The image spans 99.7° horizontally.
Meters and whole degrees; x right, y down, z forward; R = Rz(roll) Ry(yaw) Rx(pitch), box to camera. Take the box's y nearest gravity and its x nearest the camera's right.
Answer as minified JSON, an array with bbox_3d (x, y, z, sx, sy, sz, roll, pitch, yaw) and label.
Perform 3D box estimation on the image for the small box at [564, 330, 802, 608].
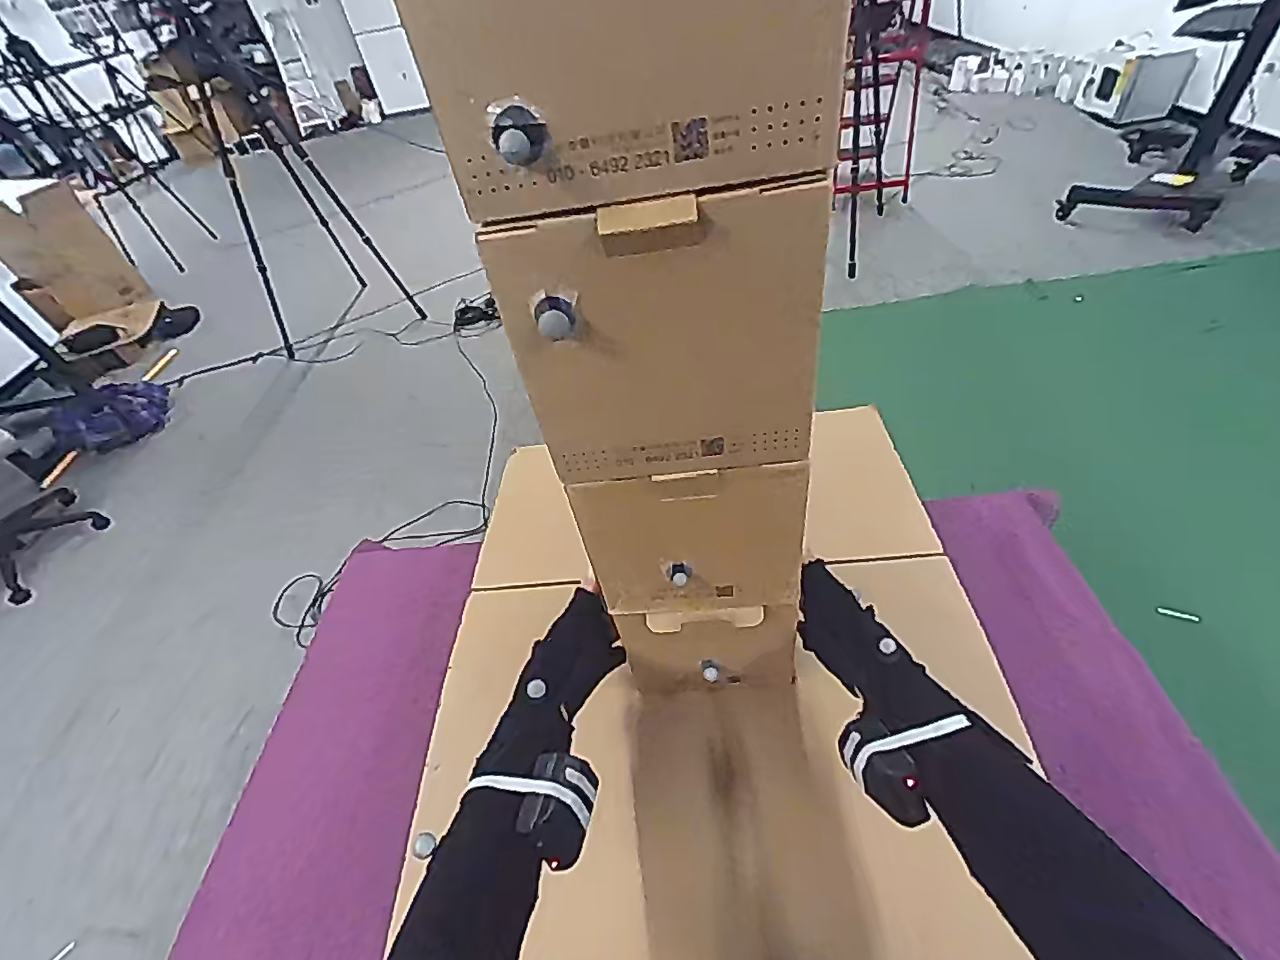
[{"bbox_3d":[0.040,-0.008,0.480,0.168,0.176,0.179,-5,45,6],"label":"small box"}]

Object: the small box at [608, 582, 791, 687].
[{"bbox_3d":[0.064,0.105,0.593,0.168,0.176,0.179,-6,44,7],"label":"small box"}]

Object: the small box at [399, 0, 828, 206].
[{"bbox_3d":[-0.009,-0.243,0.253,0.168,0.176,0.179,-5,43,6],"label":"small box"}]
